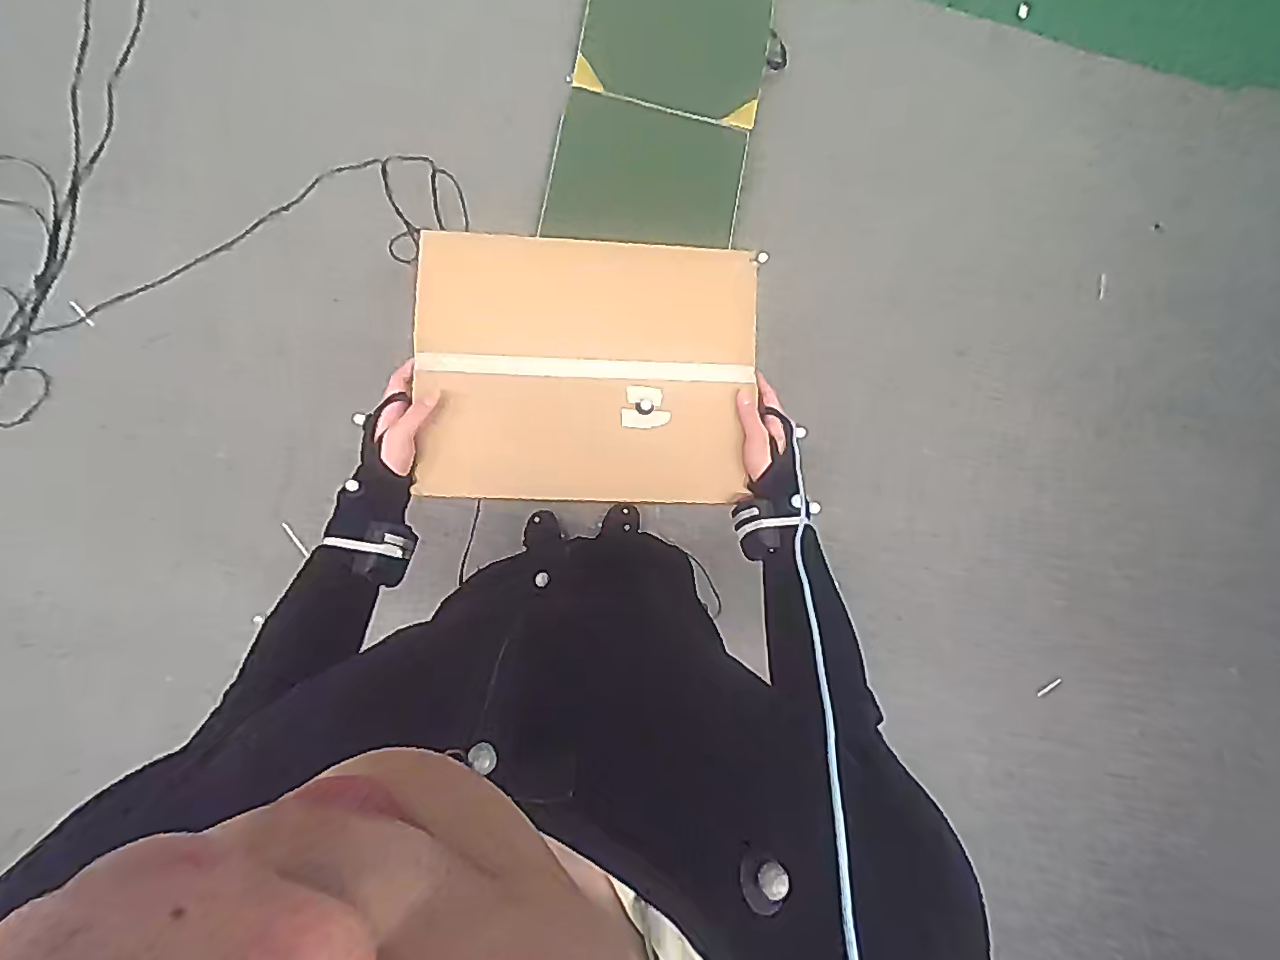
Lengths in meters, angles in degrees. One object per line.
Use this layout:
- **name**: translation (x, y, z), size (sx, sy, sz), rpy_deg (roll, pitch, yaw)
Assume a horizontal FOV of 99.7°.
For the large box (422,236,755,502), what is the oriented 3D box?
- **large box**: translation (-0.072, -0.127, 0.801), size (0.408, 0.320, 0.320), rpy_deg (2, 87, -6)
